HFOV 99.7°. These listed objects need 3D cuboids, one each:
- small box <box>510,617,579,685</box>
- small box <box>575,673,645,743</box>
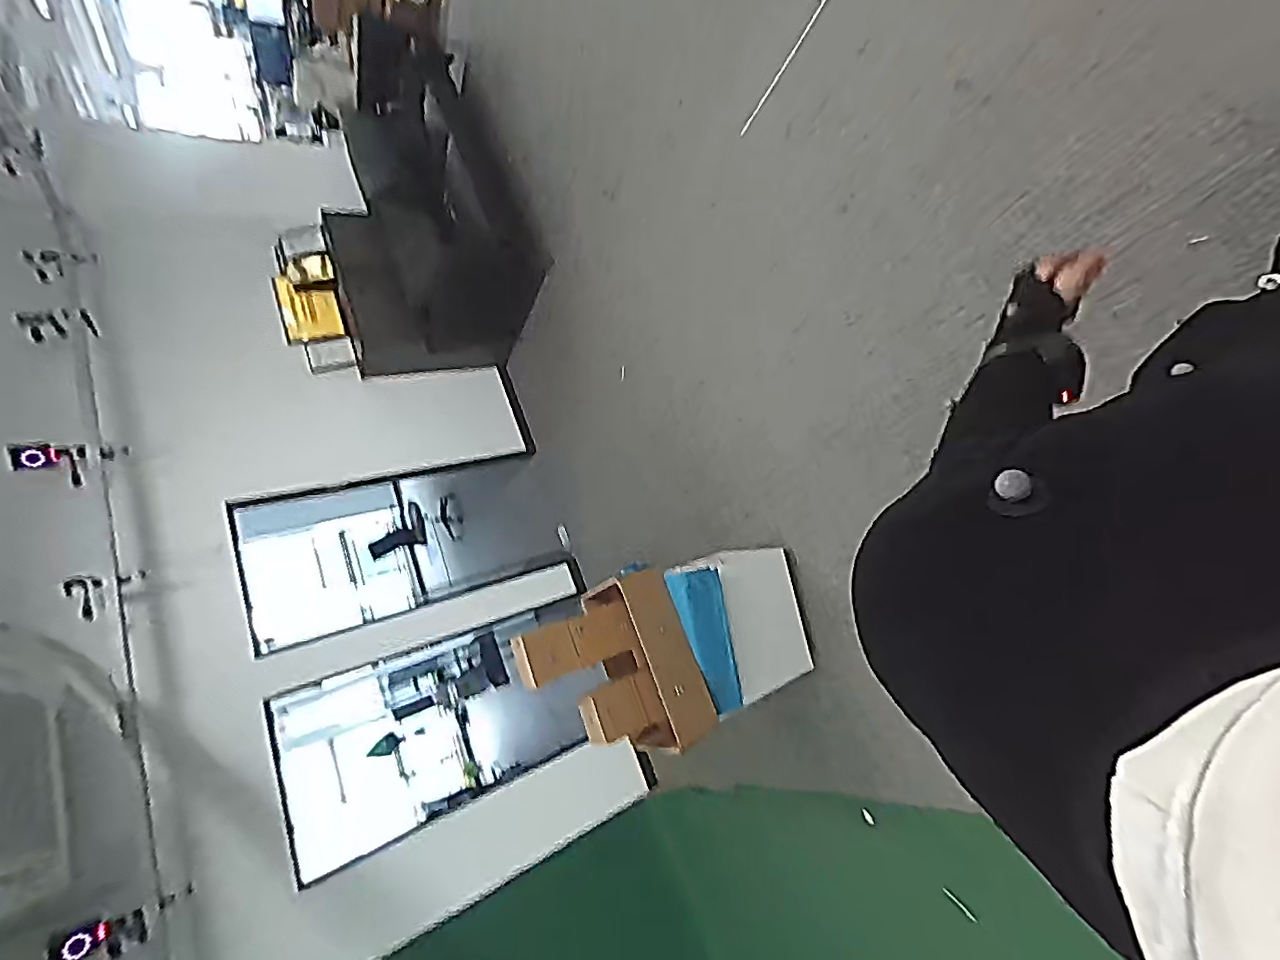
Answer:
[{"bbox_3d":[-0.332,0.595,1.883,0.168,0.176,0.179,-38,70,56],"label":"small box"},{"bbox_3d":[-0.103,0.798,1.902,0.168,0.176,0.179,-42,65,55],"label":"small box"}]
